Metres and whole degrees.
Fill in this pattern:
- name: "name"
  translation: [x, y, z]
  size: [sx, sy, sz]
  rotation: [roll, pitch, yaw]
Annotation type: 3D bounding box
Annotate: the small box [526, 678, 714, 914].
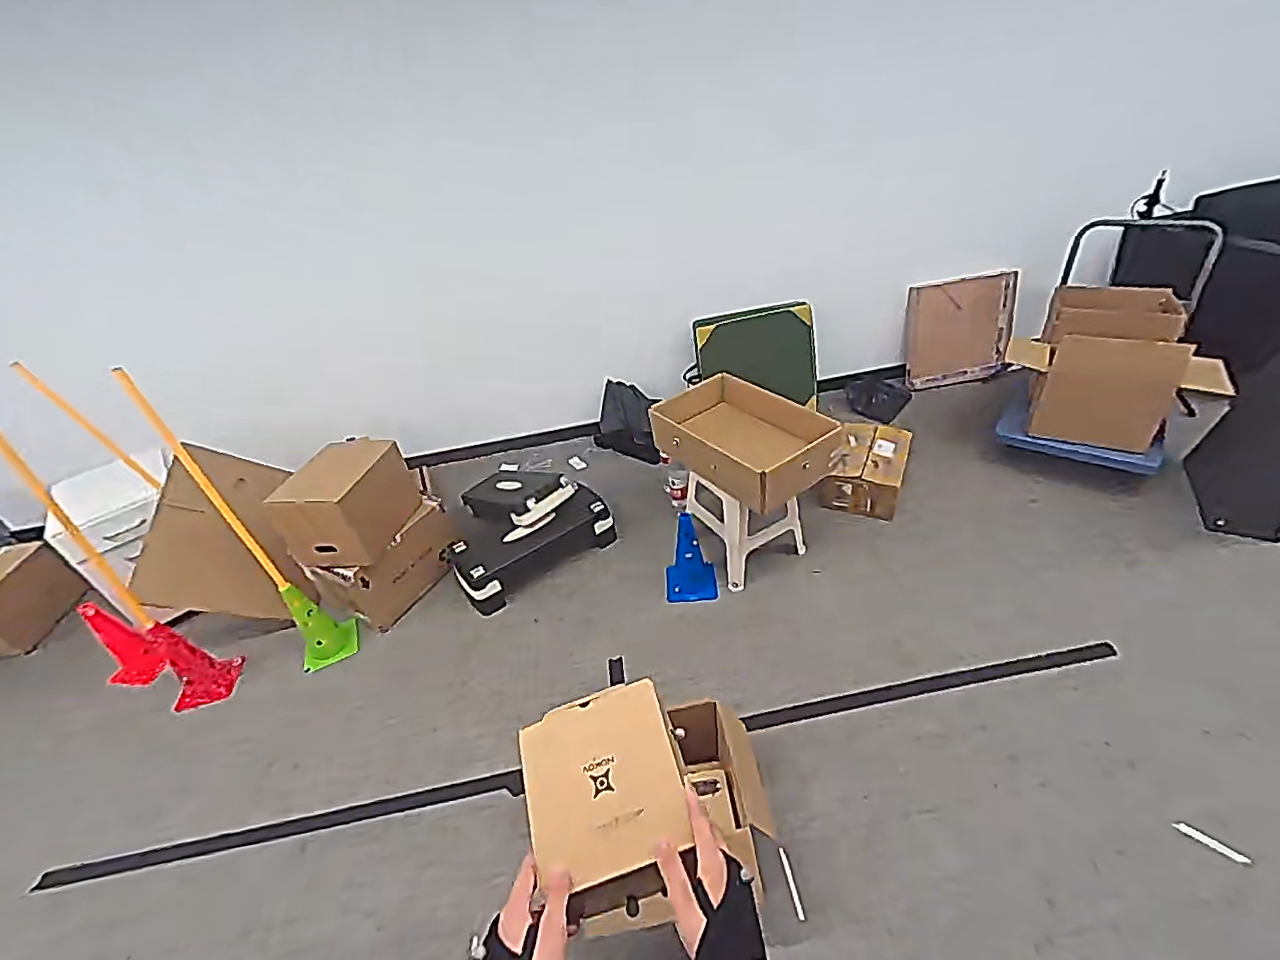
- name: "small box"
  translation: [-0.022, 0.368, 0.630]
  size: [0.168, 0.176, 0.179]
  rotation: [-19, 46, -2]
